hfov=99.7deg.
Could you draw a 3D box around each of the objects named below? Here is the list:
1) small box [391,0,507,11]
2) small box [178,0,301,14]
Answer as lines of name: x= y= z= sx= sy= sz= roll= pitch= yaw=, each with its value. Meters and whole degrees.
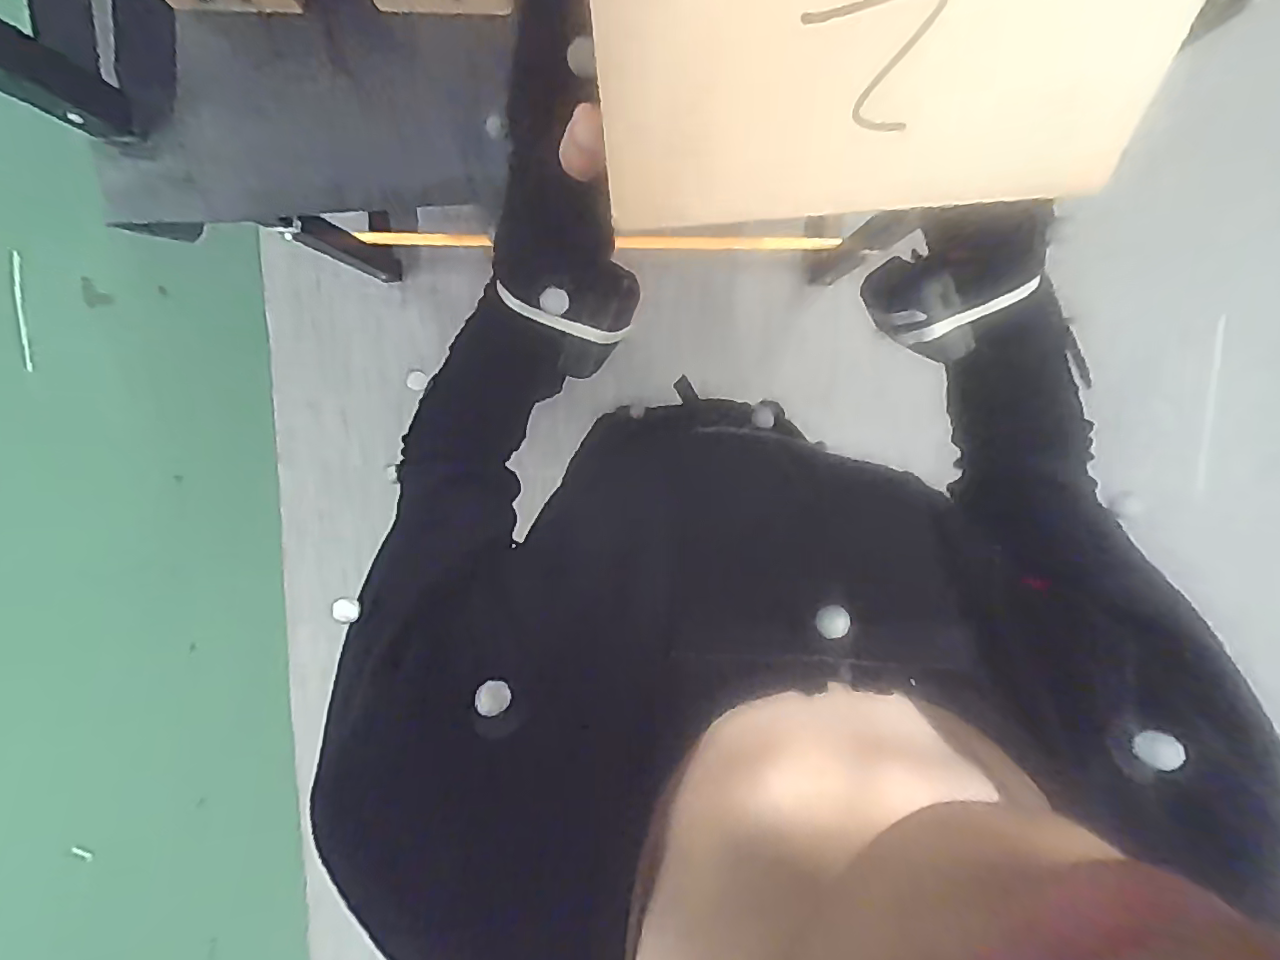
small box: x=-0.240 y=-0.653 z=0.579 sx=0.168 sy=0.176 sz=0.179 roll=2 pitch=98 yaw=0
small box: x=-0.493 y=-0.657 z=0.577 sx=0.168 sy=0.176 sz=0.179 roll=2 pitch=99 yaw=0
